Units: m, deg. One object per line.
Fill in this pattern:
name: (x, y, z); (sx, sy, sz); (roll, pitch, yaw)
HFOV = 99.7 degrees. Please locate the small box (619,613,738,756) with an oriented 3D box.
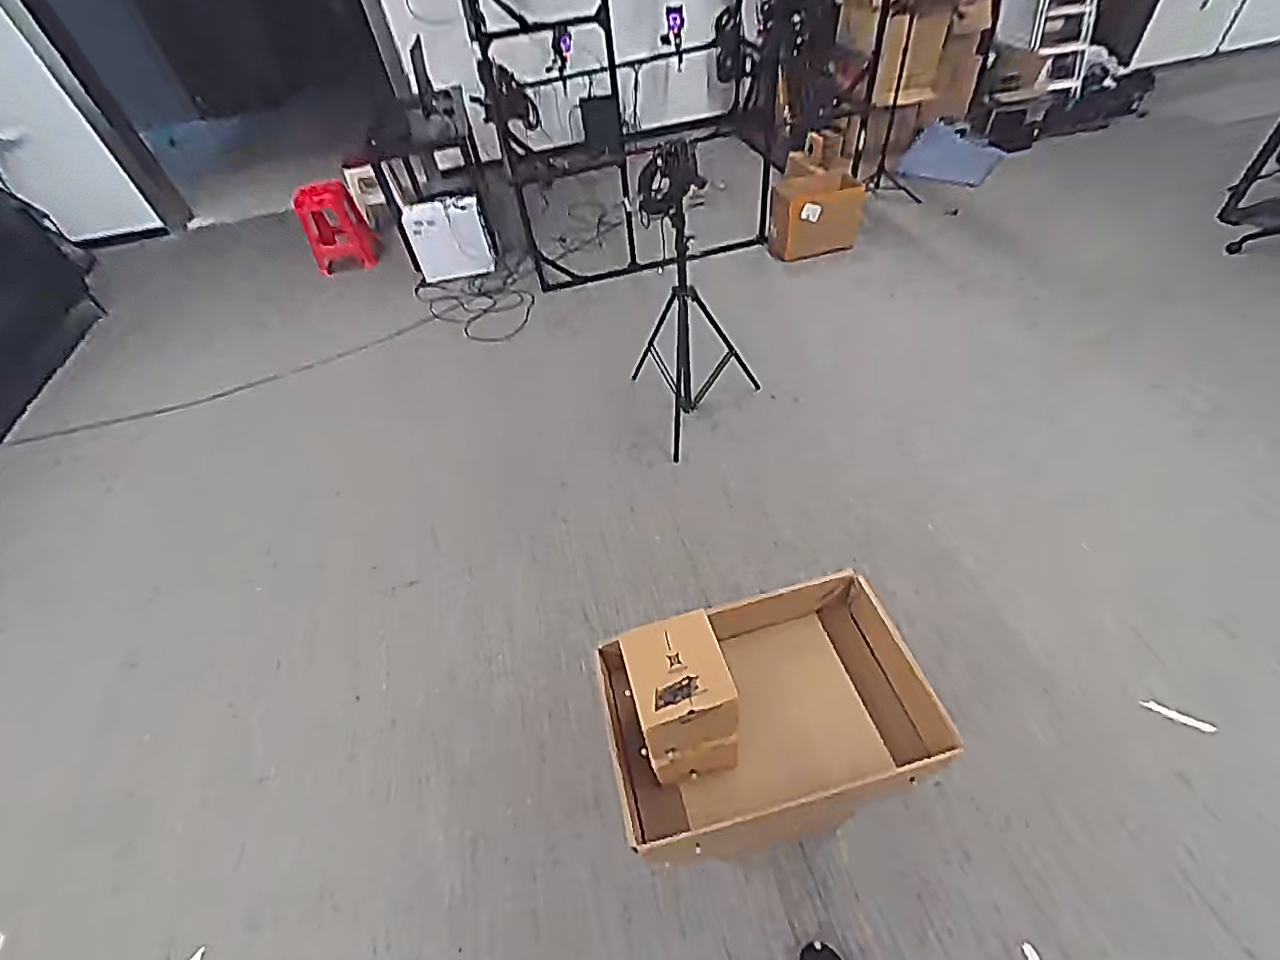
small box: (0.071, 0.373, 0.972); (0.168, 0.176, 0.179); (-16, 47, -5)

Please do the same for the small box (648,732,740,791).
small box: (0.091, 0.491, 1.085); (0.168, 0.176, 0.179); (-16, 48, -5)
